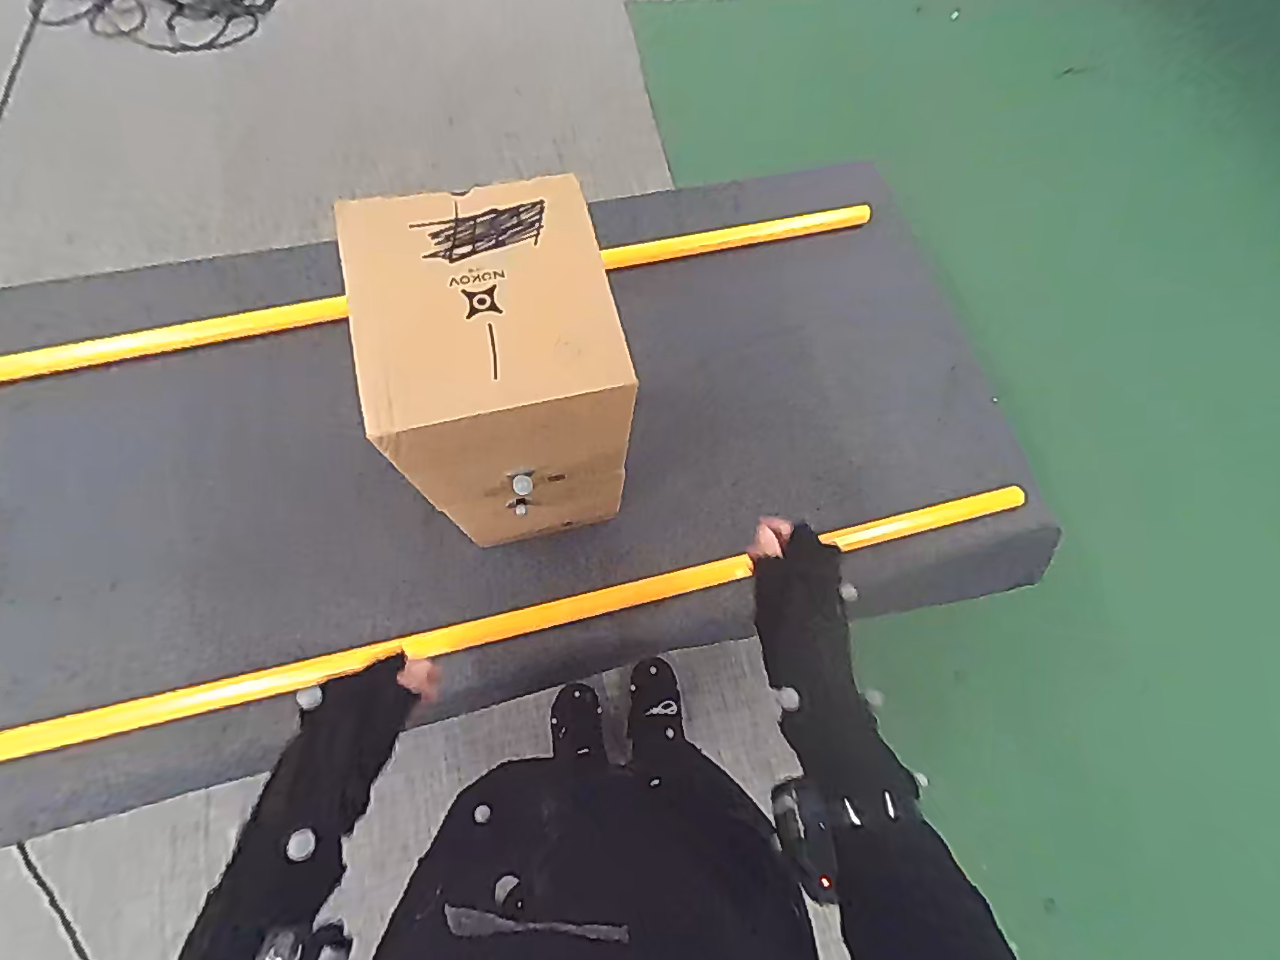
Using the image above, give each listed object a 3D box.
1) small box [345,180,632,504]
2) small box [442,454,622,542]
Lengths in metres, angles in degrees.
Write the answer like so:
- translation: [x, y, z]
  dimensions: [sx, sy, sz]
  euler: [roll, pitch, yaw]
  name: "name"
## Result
- translation: [-0.111, -0.098, 0.433]
  dimensions: [0.168, 0.176, 0.179]
  euler: [-13, 74, -9]
  name: "small box"
- translation: [-0.121, -0.047, 0.590]
  dimensions: [0.168, 0.176, 0.179]
  euler: [-13, 73, -8]
  name: "small box"
